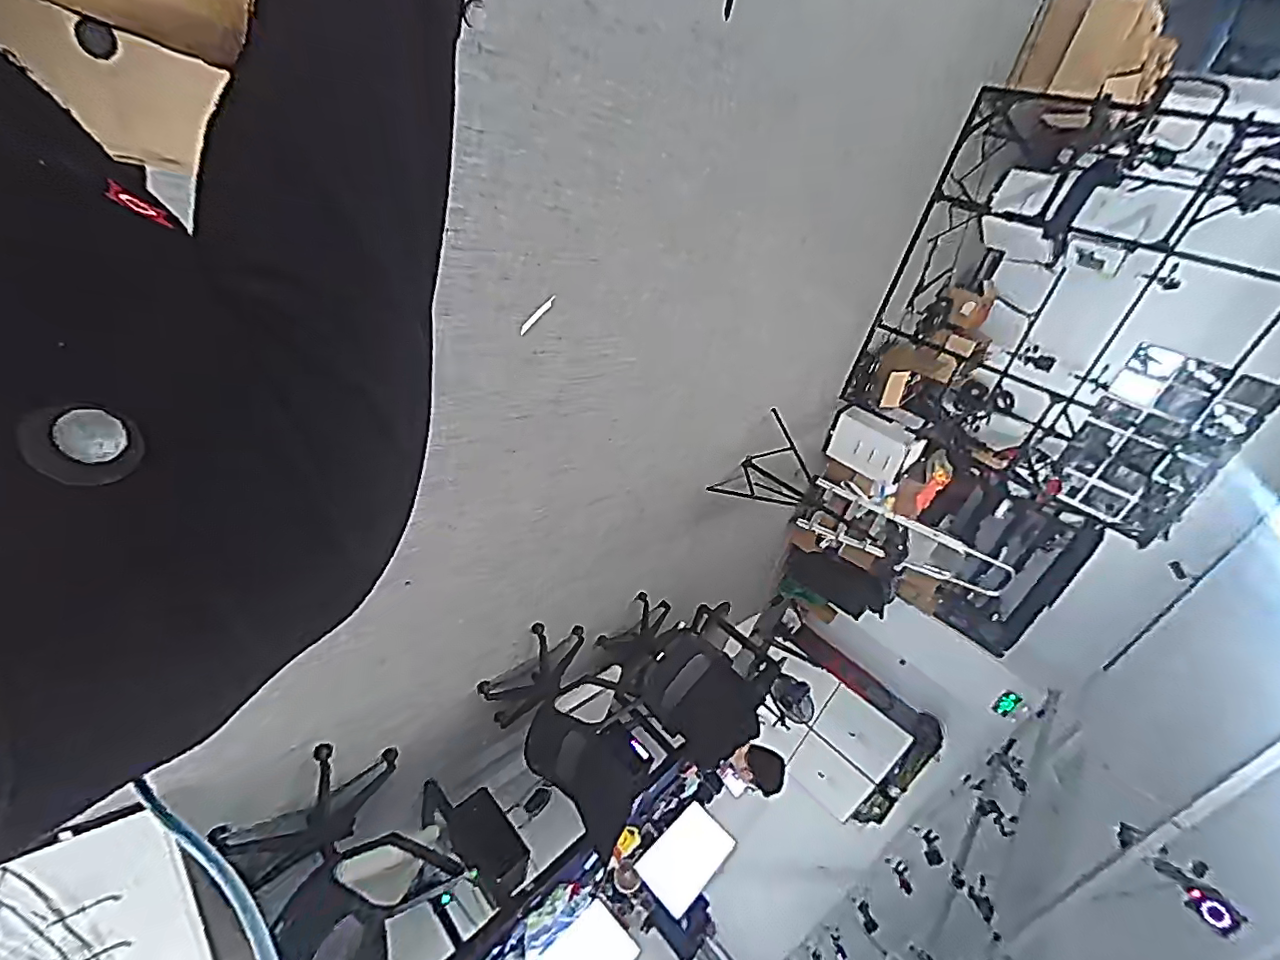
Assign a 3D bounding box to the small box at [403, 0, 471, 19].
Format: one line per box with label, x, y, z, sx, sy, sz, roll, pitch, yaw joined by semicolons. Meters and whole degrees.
small box;-0.130;-0.325;0.192;0.168;0.176;0.179;-51;154;17
